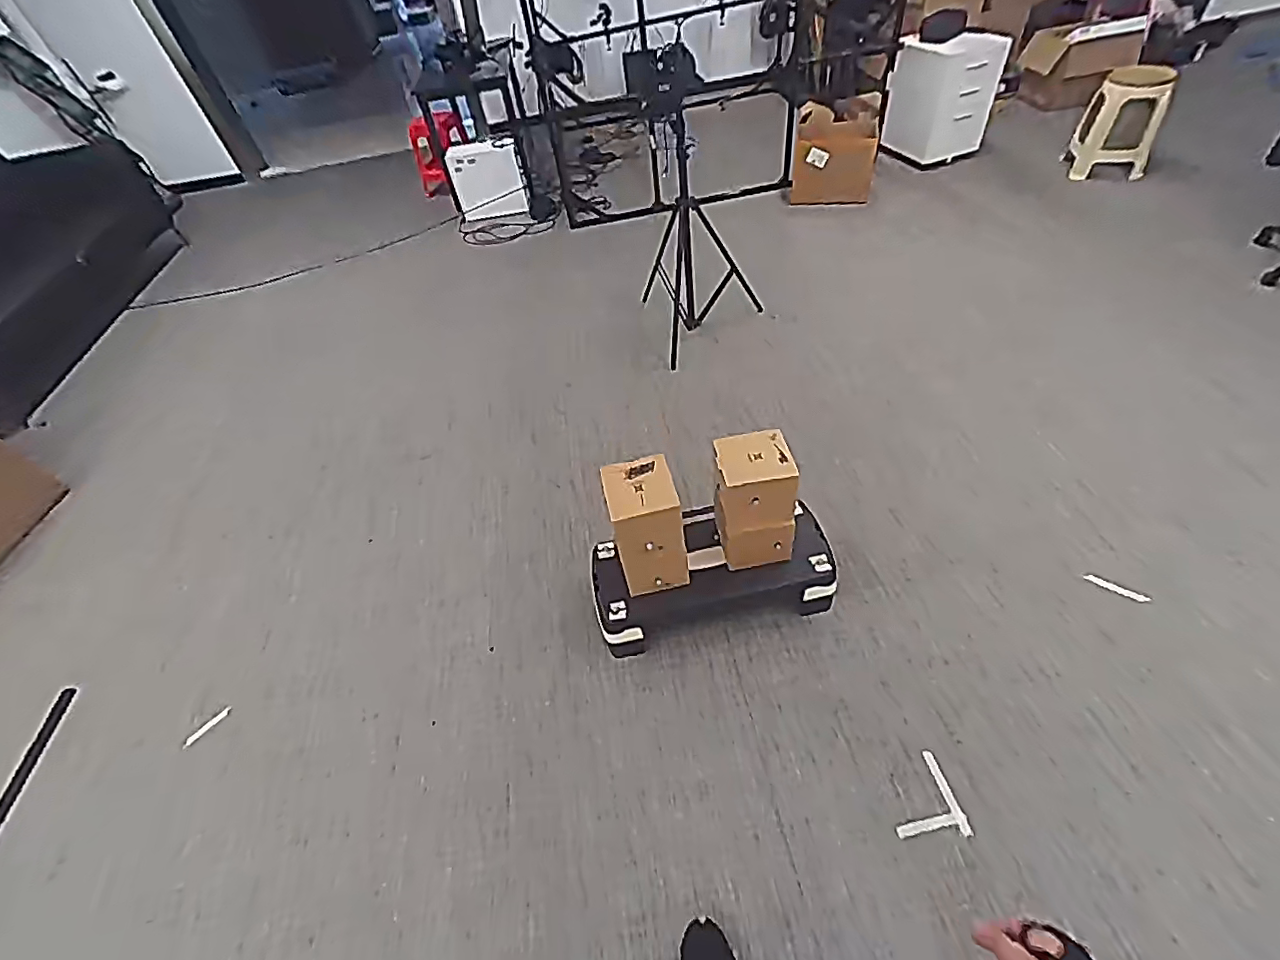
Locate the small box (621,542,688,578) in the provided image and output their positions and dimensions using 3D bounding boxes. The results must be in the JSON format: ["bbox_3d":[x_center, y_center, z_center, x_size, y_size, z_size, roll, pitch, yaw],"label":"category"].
[{"bbox_3d":[0.029,0.182,1.455,0.168,0.176,0.179,-13,48,-2],"label":"small box"}]

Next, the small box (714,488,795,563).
[{"bbox_3d":[0.304,0.121,1.466,0.179,0.176,0.168,-11,48,0],"label":"small box"}]

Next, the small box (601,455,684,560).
[{"bbox_3d":[0.006,0.070,1.337,0.168,0.176,0.179,-14,48,-3],"label":"small box"}]

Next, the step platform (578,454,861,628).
[{"bbox_3d":[0.194,0.158,1.402,0.684,0.204,0.286,-12,48,-2],"label":"step platform"}]

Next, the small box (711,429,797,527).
[{"bbox_3d":[0.283,0.001,1.357,0.179,0.176,0.168,-10,48,2],"label":"small box"}]
